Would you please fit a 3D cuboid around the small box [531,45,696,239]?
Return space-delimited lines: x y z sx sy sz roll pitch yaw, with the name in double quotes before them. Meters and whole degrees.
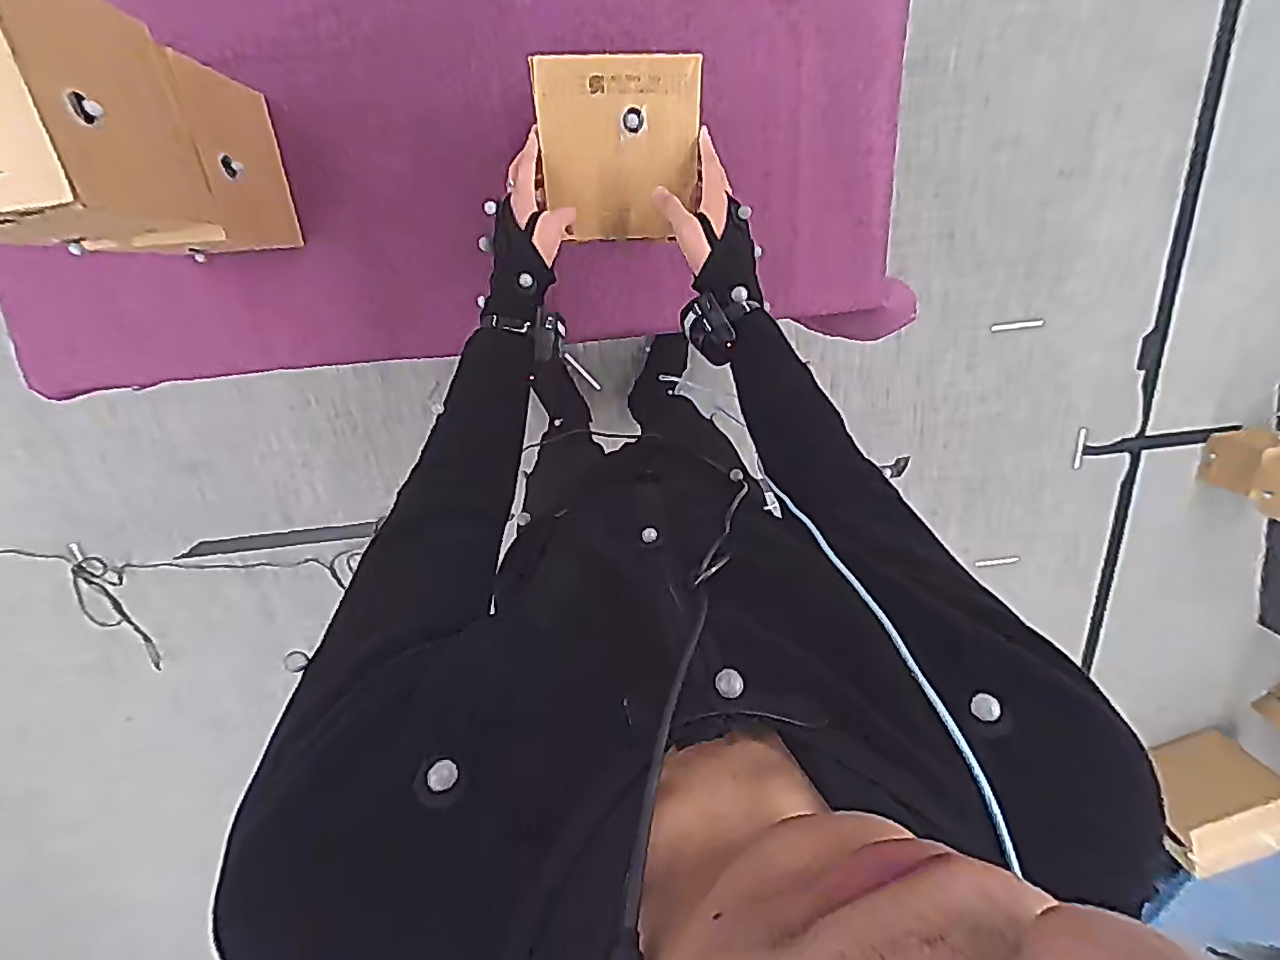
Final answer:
"small box" -0.030 -0.384 0.626 0.168 0.179 0.176 -3 123 -3

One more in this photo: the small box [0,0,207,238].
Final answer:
"small box" -0.528 -0.309 0.459 0.168 0.176 0.179 -9 111 -2

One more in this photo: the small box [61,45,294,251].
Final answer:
"small box" -0.535 -0.358 0.616 0.168 0.176 0.179 -5 111 -3
